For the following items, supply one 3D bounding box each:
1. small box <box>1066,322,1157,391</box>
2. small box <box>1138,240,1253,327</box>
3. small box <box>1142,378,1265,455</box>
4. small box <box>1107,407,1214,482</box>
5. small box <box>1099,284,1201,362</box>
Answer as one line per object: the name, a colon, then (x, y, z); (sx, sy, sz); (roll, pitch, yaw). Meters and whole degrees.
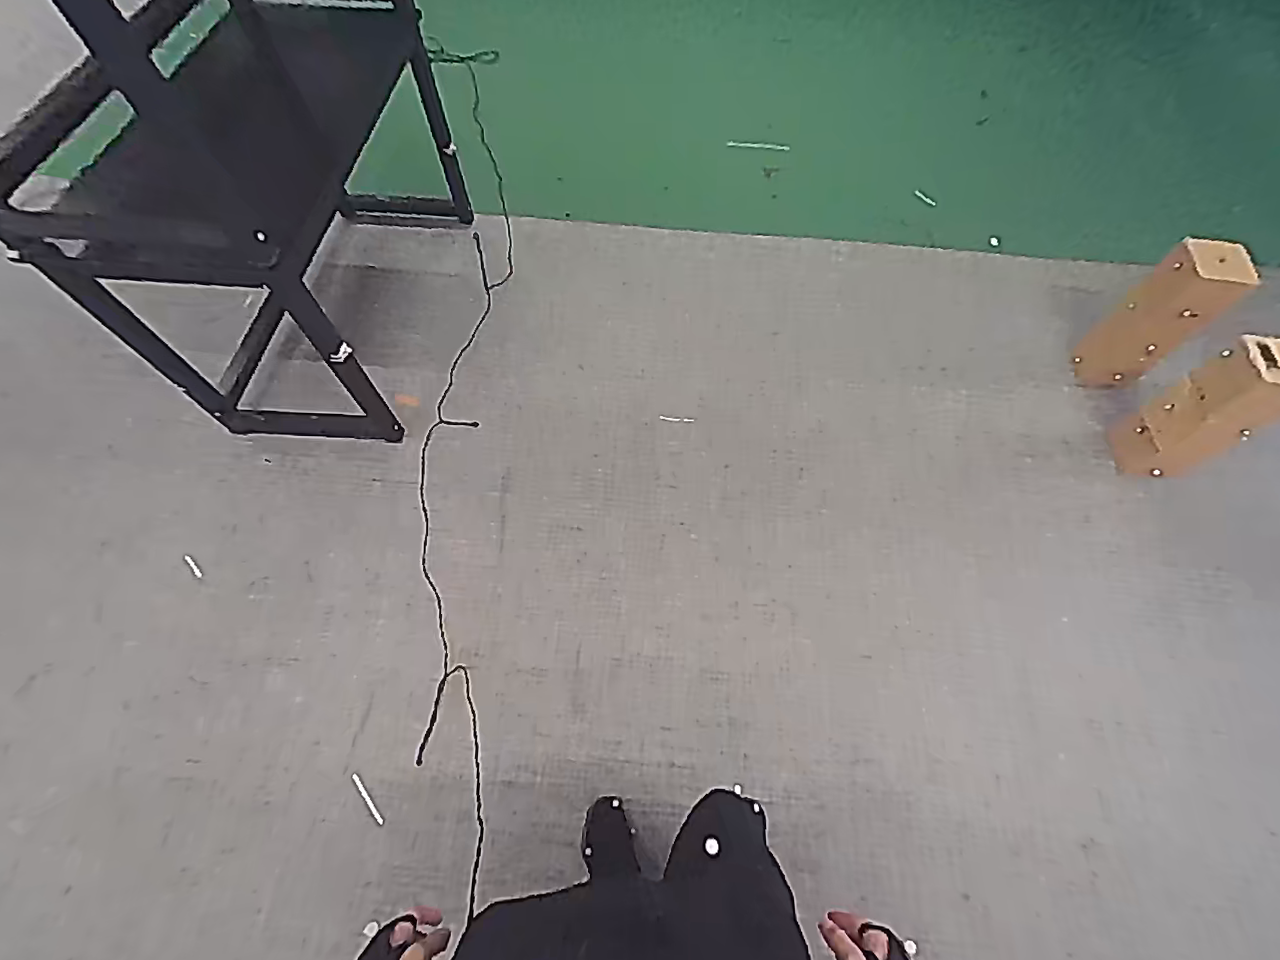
small box: (1.701, -0.443, 1.963); (0.168, 0.176, 0.179); (7, 62, 3)
small box: (1.709, -0.608, 1.679); (0.168, 0.176, 0.179); (10, 62, 5)
small box: (1.687, -0.189, 1.638); (0.179, 0.176, 0.168); (3, 61, 0)
small box: (1.702, -0.116, 1.782); (0.168, 0.176, 0.179); (6, 62, 3)
small box: (1.705, -0.529, 1.822); (0.168, 0.176, 0.179); (8, 62, 4)
